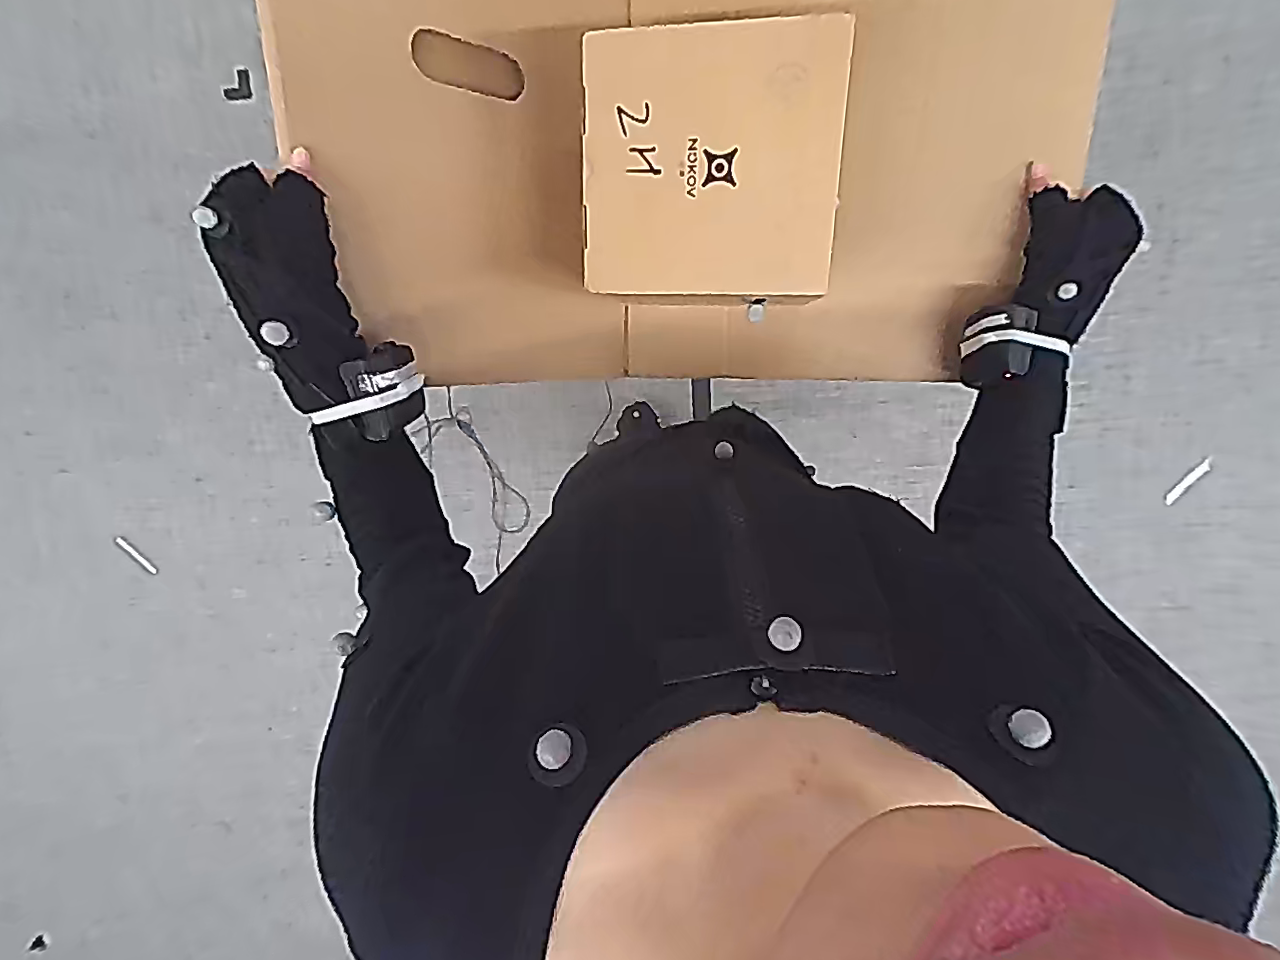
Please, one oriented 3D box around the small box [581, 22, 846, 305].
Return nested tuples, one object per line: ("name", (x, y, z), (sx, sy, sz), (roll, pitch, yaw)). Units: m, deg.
("small box", (0.056, -0.239, 0.452), (0.179, 0.176, 0.168), (4, 105, 9))
